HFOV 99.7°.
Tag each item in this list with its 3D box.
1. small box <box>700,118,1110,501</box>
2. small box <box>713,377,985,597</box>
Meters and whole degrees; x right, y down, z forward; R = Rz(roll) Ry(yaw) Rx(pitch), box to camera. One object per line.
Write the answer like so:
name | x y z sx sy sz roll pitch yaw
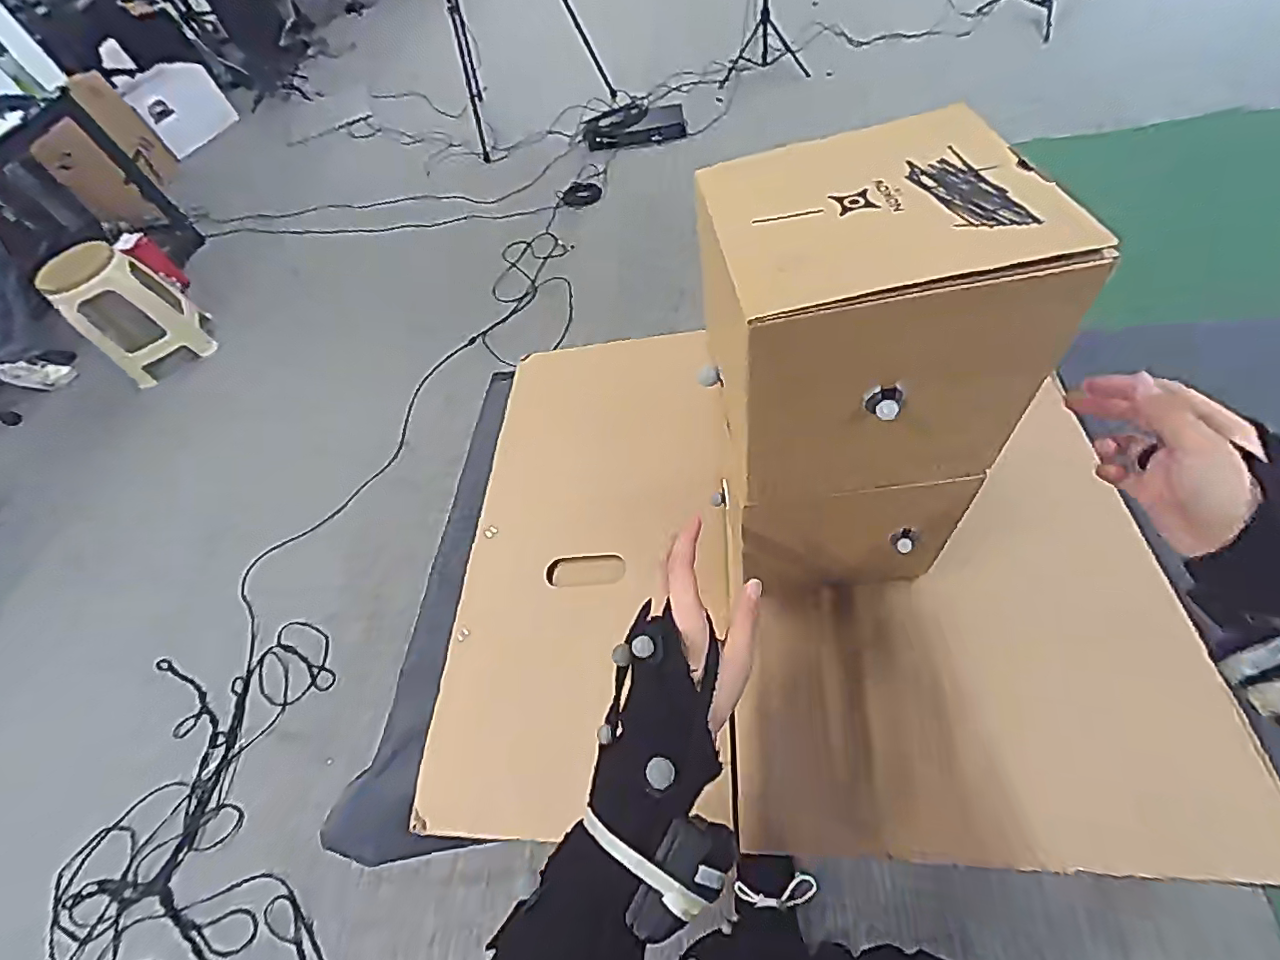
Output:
small box | 0.142 -0.105 0.368 0.179 0.176 0.168 -10 53 5
small box | 0.167 -0.008 0.498 0.179 0.176 0.168 -9 52 5
